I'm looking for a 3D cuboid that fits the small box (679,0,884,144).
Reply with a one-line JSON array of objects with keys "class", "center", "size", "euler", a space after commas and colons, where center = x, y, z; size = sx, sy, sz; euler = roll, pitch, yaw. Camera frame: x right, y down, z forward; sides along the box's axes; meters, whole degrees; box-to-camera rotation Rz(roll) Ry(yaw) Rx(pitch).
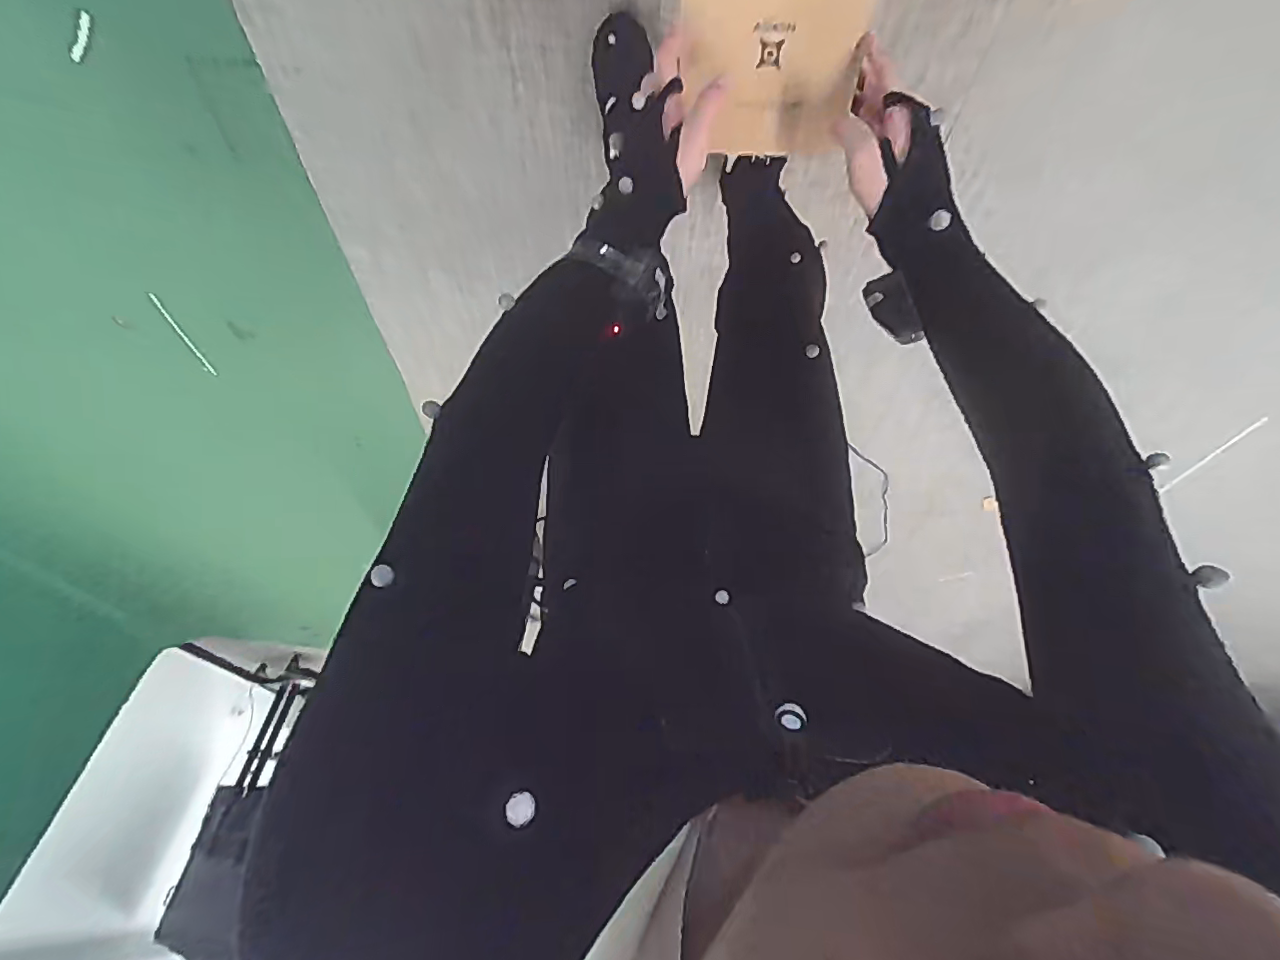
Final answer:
[{"class": "small box", "center": [0.130, -0.452, 0.517], "size": [0.168, 0.176, 0.179], "euler": [6, 141, 5]}]
